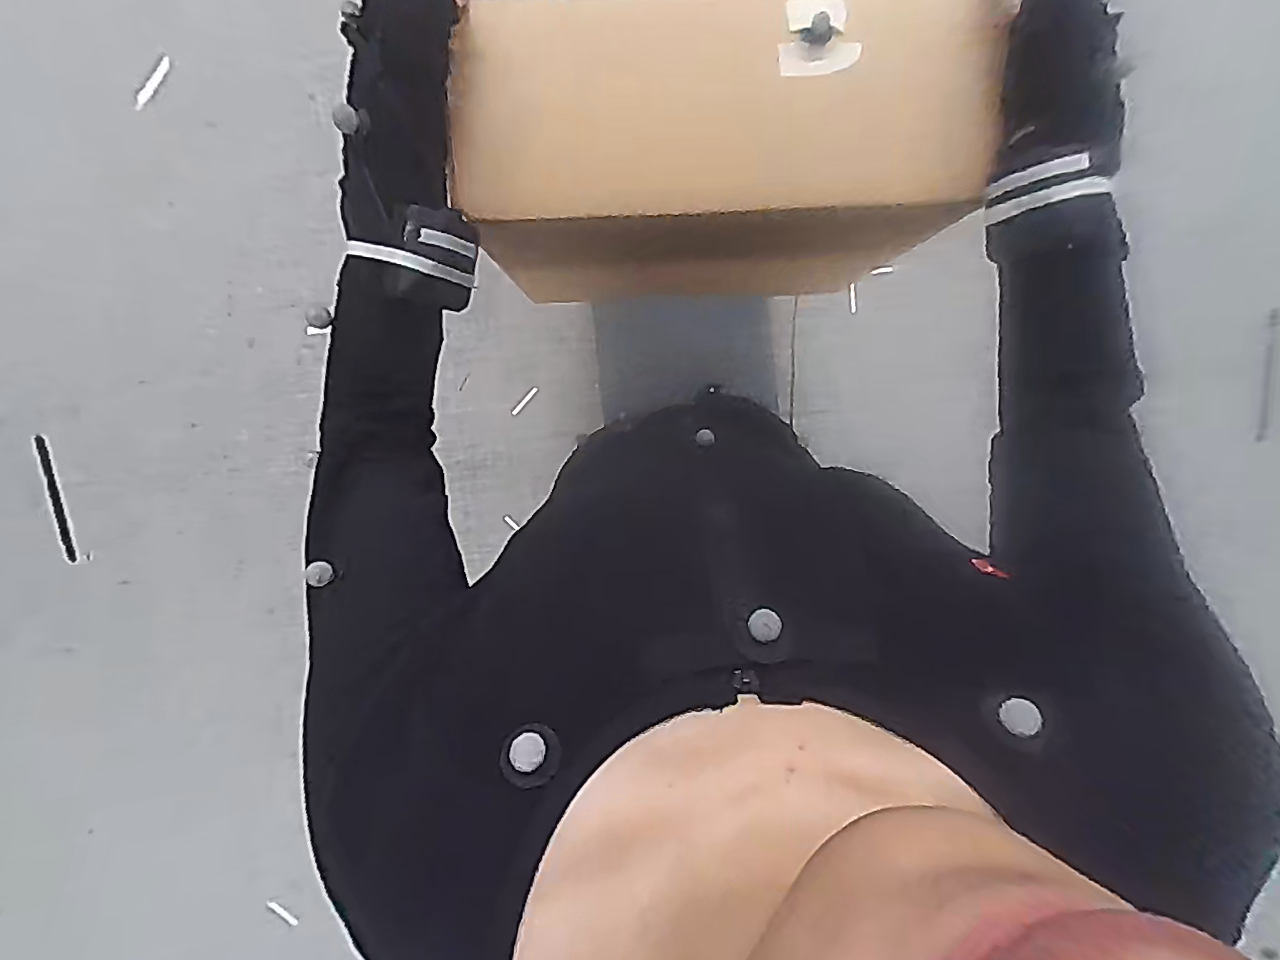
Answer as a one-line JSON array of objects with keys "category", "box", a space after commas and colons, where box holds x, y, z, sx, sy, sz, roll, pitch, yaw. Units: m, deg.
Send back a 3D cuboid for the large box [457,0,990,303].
[{"category": "large box", "box": [0.058, -0.377, 0.547, 0.408, 0.320, 0.320, -2, 97, -1]}]
